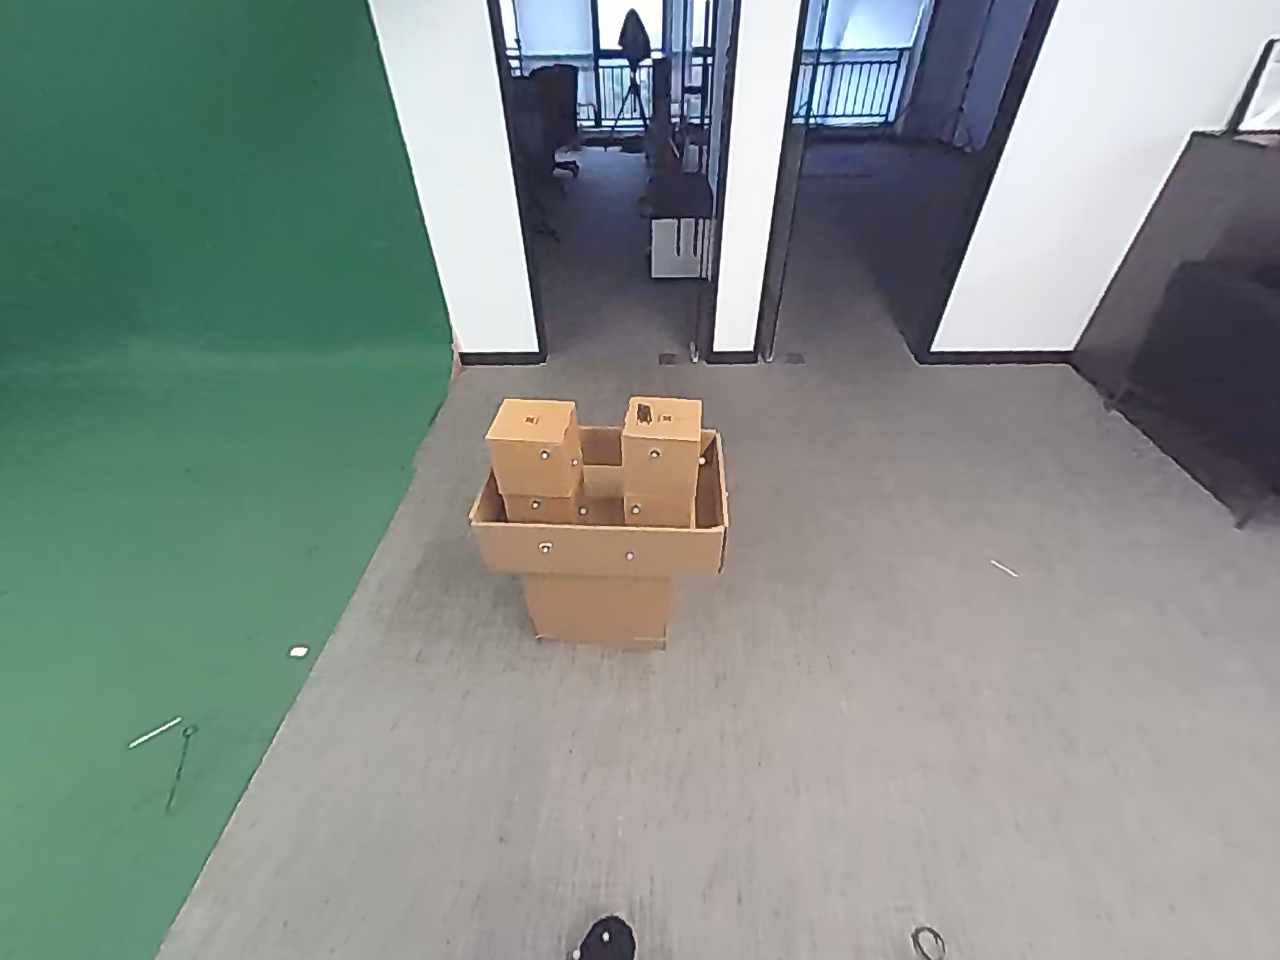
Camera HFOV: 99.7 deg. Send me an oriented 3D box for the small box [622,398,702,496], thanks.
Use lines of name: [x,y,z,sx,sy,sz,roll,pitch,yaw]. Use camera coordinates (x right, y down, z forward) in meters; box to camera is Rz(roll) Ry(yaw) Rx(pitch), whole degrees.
small box: [0.055,-0.078,1.293,0.179,0.176,0.168,4,41,5]

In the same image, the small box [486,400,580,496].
small box: [-0.248,-0.076,1.302,0.179,0.176,0.168,4,42,4]

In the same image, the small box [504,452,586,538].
small box: [-0.243,0.037,1.420,0.179,0.176,0.168,3,42,3]
